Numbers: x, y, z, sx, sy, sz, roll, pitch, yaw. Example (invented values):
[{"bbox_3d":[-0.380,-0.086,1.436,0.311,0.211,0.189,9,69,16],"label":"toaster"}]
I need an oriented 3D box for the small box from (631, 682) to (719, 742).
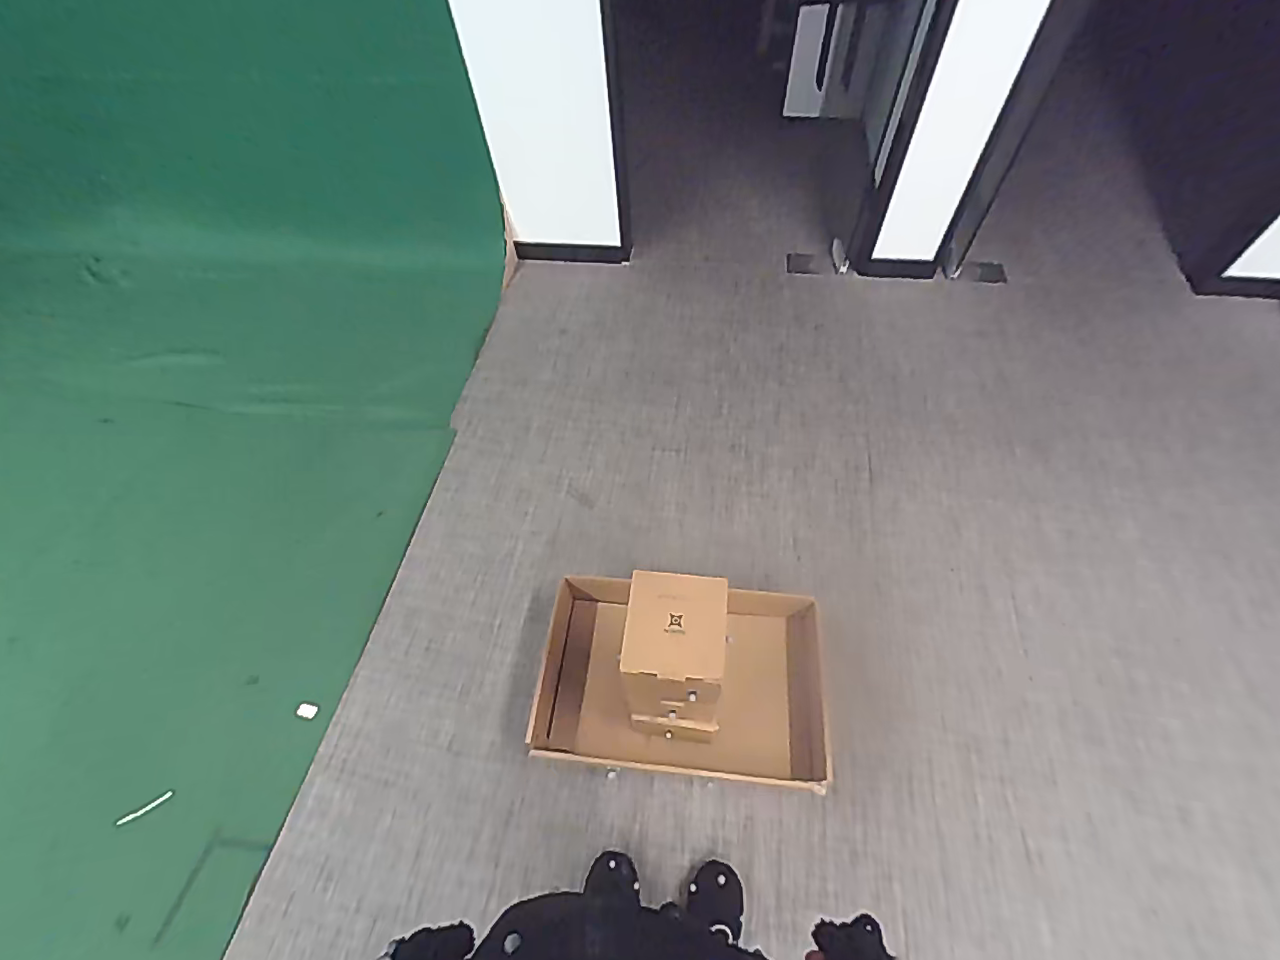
[{"bbox_3d":[0.084,0.485,1.228,0.179,0.176,0.168,6,56,9],"label":"small box"}]

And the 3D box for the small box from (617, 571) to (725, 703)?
[{"bbox_3d":[0.060,0.281,0.955,0.168,0.176,0.179,5,55,6],"label":"small box"}]

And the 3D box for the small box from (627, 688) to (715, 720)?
[{"bbox_3d":[0.071,0.381,1.106,0.168,0.176,0.179,1,56,6],"label":"small box"}]
